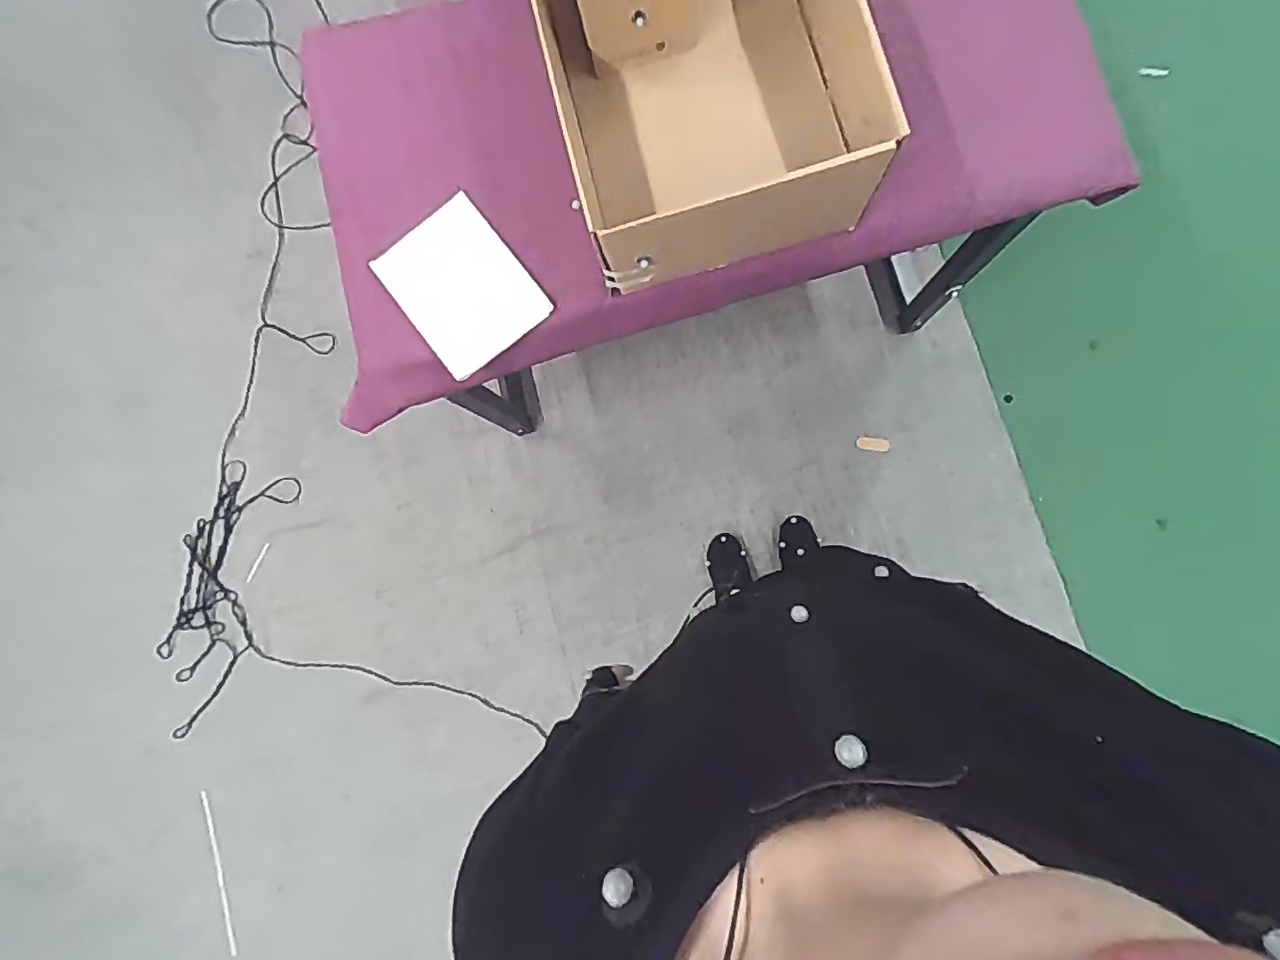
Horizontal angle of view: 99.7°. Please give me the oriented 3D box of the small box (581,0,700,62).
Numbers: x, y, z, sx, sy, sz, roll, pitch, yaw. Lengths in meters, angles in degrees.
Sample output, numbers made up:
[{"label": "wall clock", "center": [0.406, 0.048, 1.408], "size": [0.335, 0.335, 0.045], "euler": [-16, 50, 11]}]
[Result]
[{"label": "small box", "center": [-0.013, -0.737, 0.759], "size": [0.168, 0.176, 0.179], "euler": [-14, 85, 5]}]
